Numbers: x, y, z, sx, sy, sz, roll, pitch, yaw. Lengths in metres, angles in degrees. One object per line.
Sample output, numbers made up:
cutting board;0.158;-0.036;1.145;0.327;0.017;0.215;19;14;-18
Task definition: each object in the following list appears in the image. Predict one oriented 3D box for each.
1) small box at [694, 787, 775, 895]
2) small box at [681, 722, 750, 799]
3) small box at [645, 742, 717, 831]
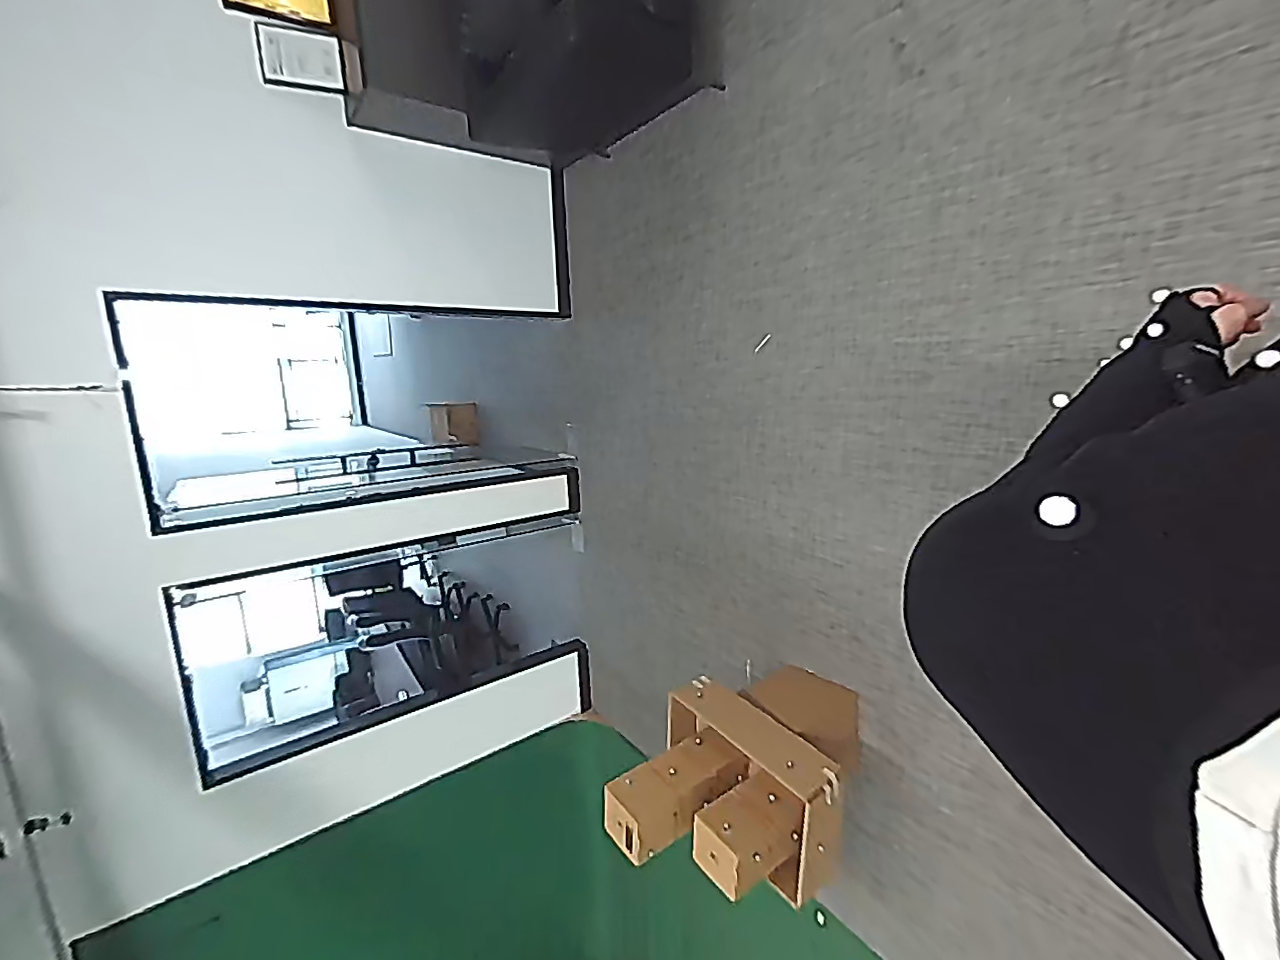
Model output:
small box;0.281;1.061;1.609;0.179;0.176;0.168;19;112;51
small box;0.261;0.986;1.902;0.179;0.176;0.168;17;112;50
small box;0.135;1.009;1.804;0.179;0.176;0.168;16;110;49
